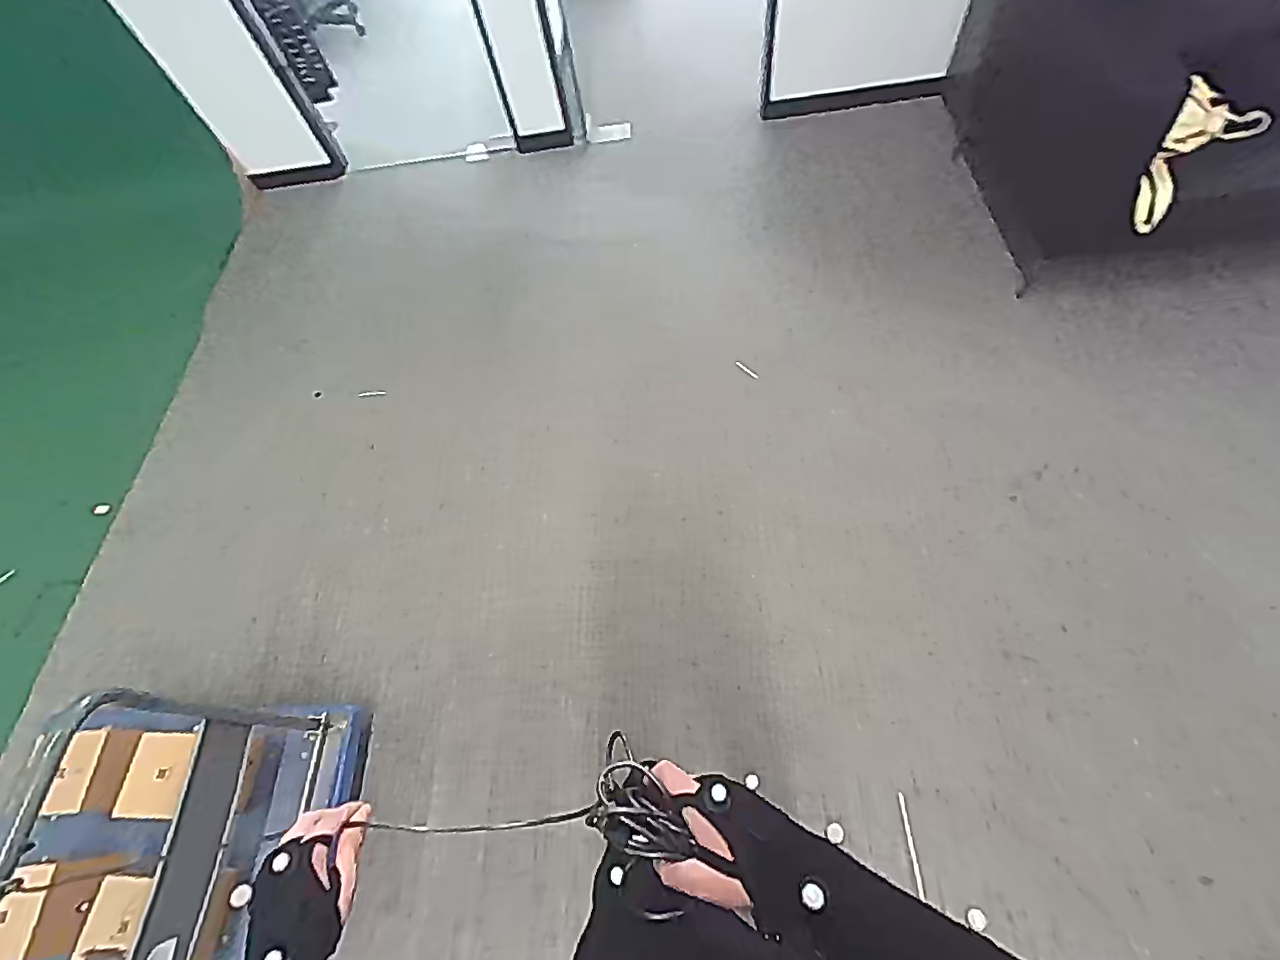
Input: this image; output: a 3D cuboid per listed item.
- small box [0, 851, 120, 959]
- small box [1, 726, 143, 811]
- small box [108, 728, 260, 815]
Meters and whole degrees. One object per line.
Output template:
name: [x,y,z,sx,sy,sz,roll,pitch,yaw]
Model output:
small box: [-1.281,0.902,1.149,0.179,0.176,0.168,-6,61,3]
small box: [-1.290,0.676,1.268,0.179,0.176,0.168,-4,63,3]
small box: [-1.034,0.669,1.244,0.179,0.176,0.168,-2,62,5]
